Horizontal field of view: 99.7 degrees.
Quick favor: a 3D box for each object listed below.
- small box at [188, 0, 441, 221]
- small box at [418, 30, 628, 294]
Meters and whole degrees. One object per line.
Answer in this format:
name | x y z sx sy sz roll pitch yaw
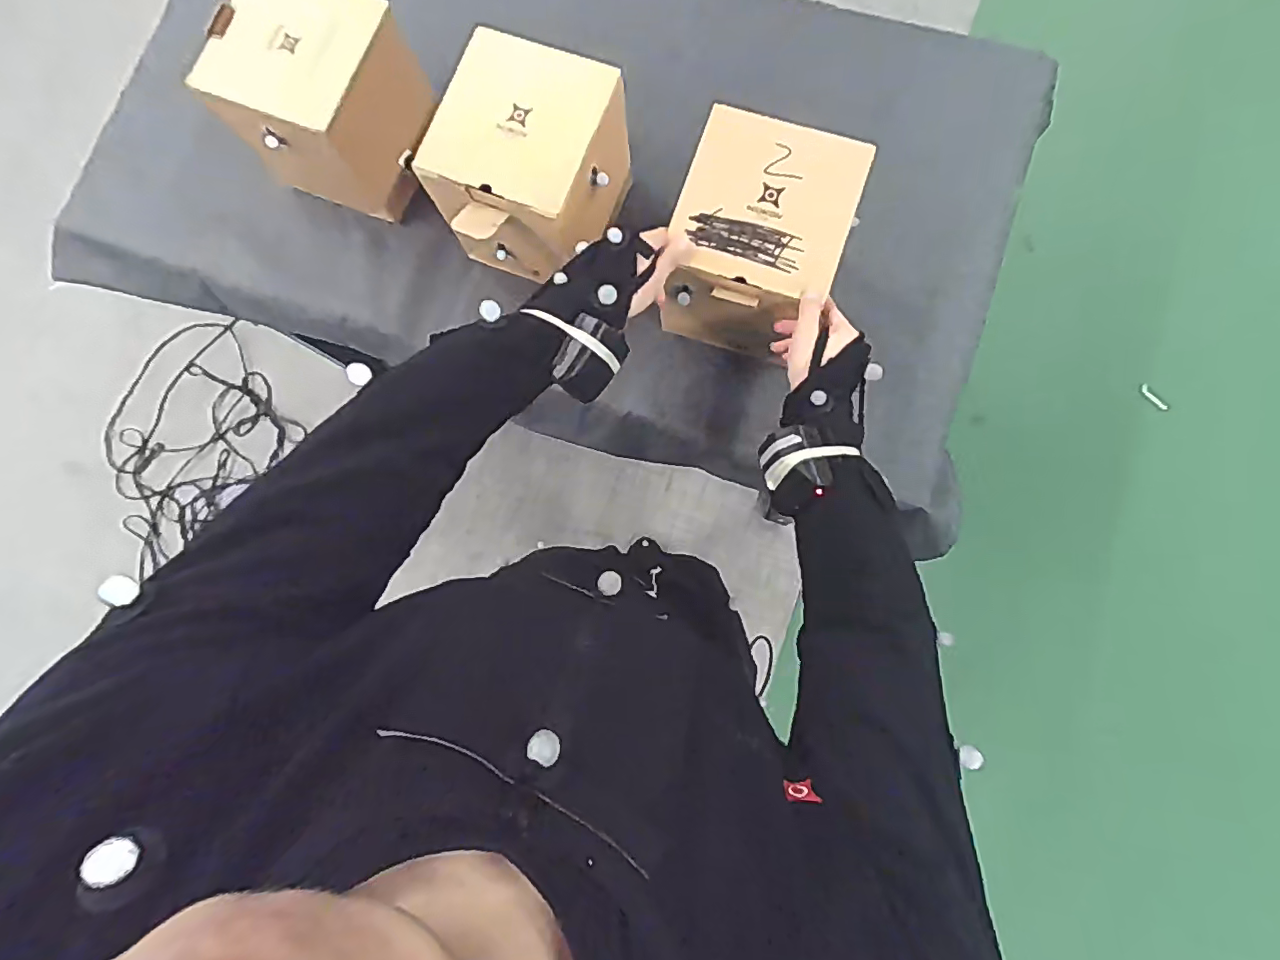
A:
small box | -0.369 -0.451 0.654 0.179 0.176 0.168 22 84 5
small box | -0.118 -0.353 0.630 0.168 0.176 0.179 21 84 5
